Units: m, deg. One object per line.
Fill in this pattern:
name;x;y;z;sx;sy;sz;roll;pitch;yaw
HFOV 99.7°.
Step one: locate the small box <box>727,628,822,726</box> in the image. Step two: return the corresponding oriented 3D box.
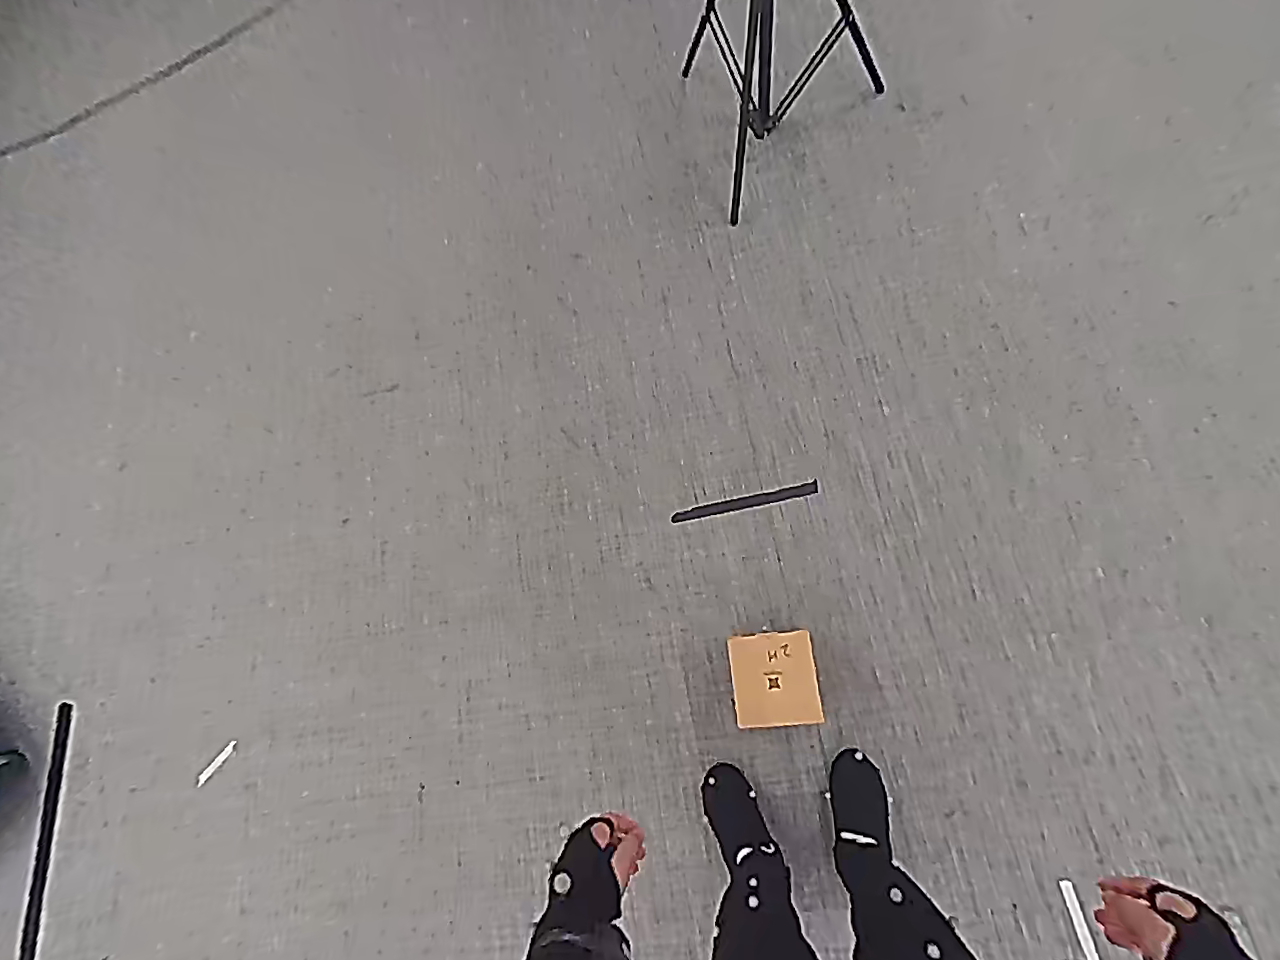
small box;0.278;0.408;1.140;0.168;0.176;0.179;-8;73;8
